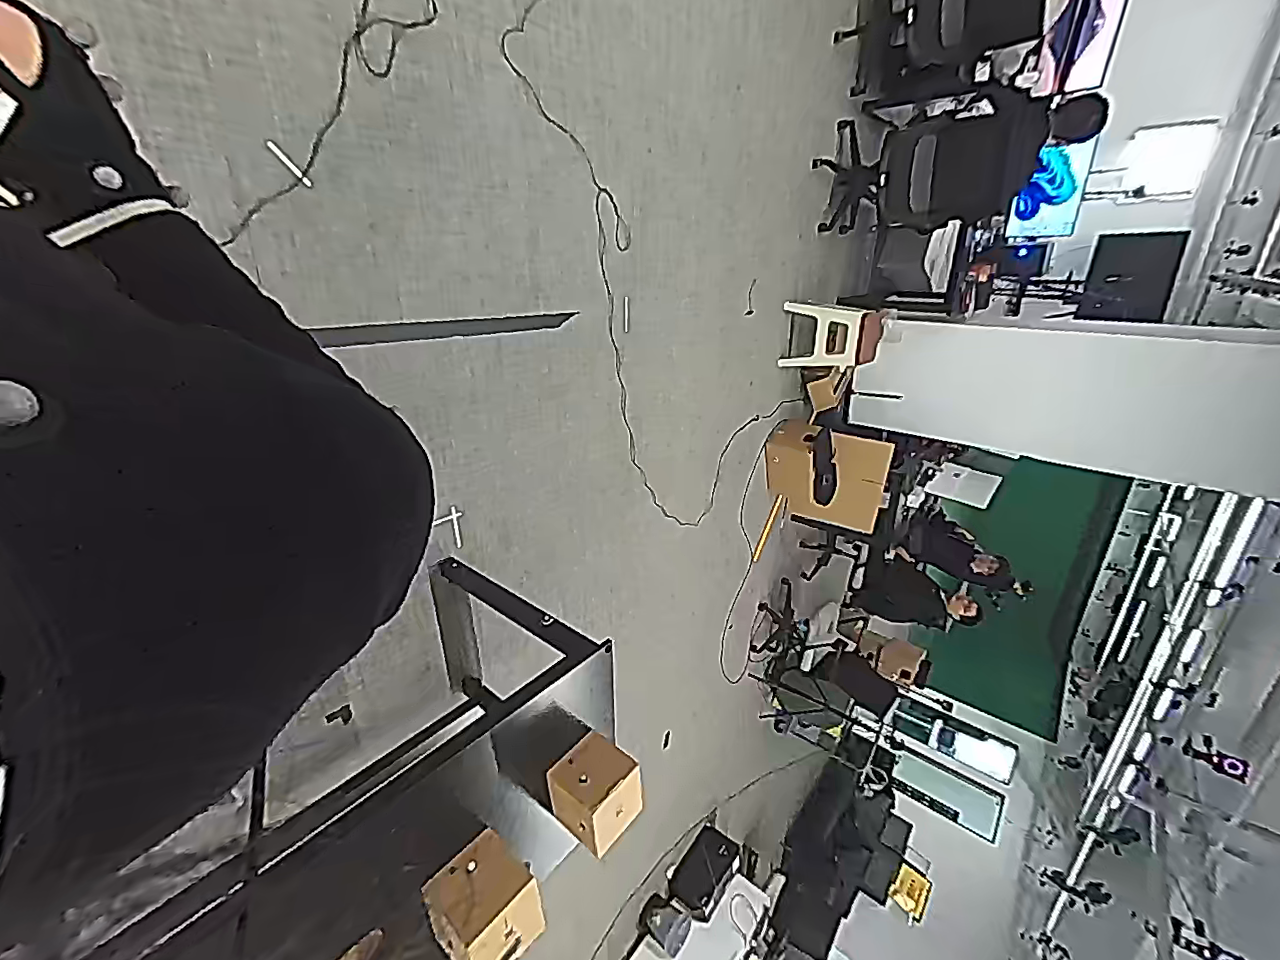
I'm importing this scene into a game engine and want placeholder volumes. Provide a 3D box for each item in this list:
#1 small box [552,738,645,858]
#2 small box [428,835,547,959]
[{"bbox_3d":[-0.107,0.788,1.366,0.168,0.176,0.179,-29,126,-41],"label":"small box"},{"bbox_3d":[-0.319,0.904,1.138,0.168,0.176,0.179,-27,123,-44],"label":"small box"}]
